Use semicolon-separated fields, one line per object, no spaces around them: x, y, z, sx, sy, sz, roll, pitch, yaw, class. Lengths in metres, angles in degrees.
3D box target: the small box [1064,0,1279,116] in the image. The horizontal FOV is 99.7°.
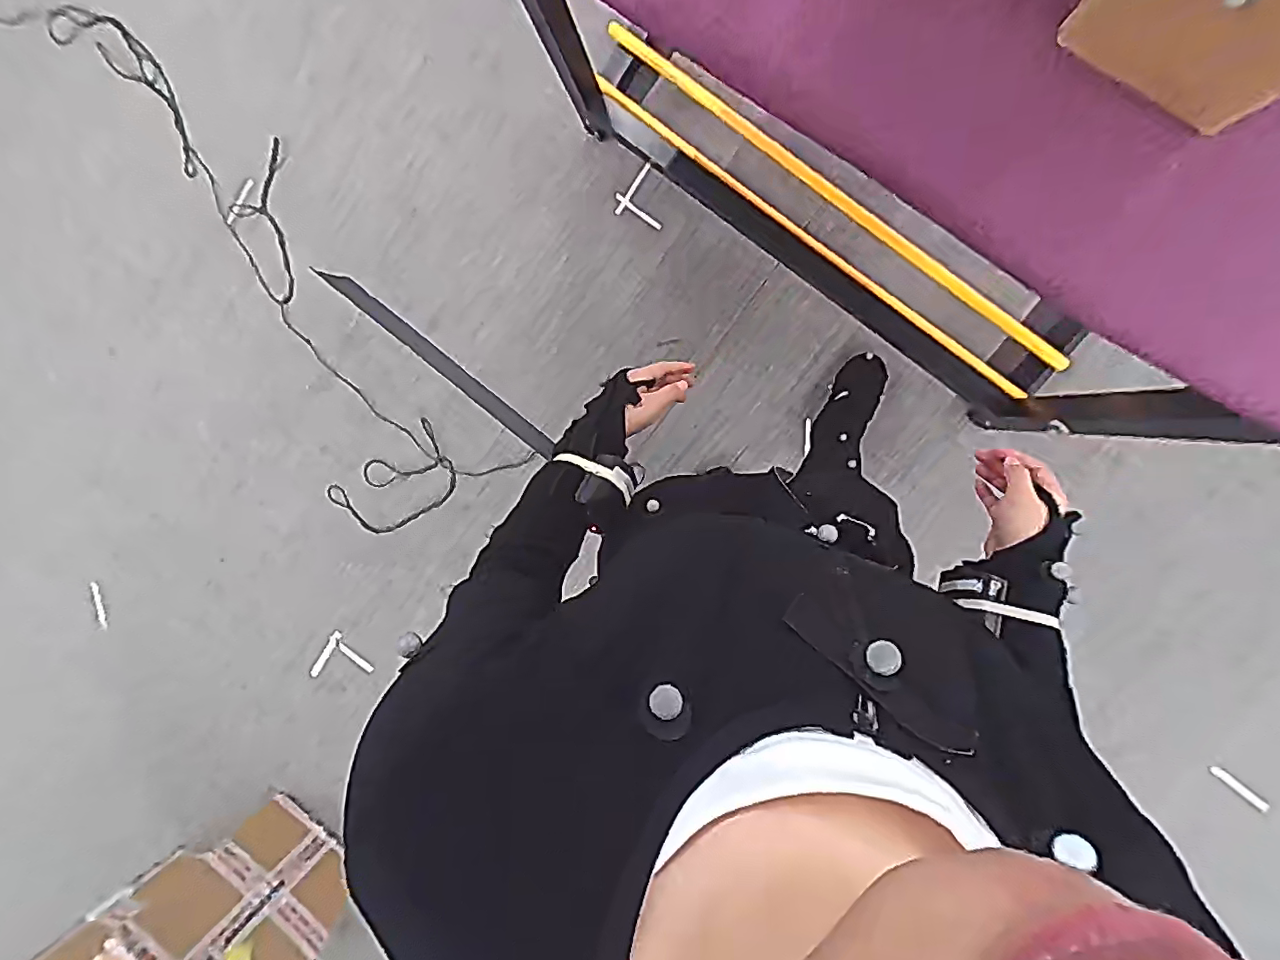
0.508;-0.436;0.429;0.179;0.176;0.168;36;101;4;small box
